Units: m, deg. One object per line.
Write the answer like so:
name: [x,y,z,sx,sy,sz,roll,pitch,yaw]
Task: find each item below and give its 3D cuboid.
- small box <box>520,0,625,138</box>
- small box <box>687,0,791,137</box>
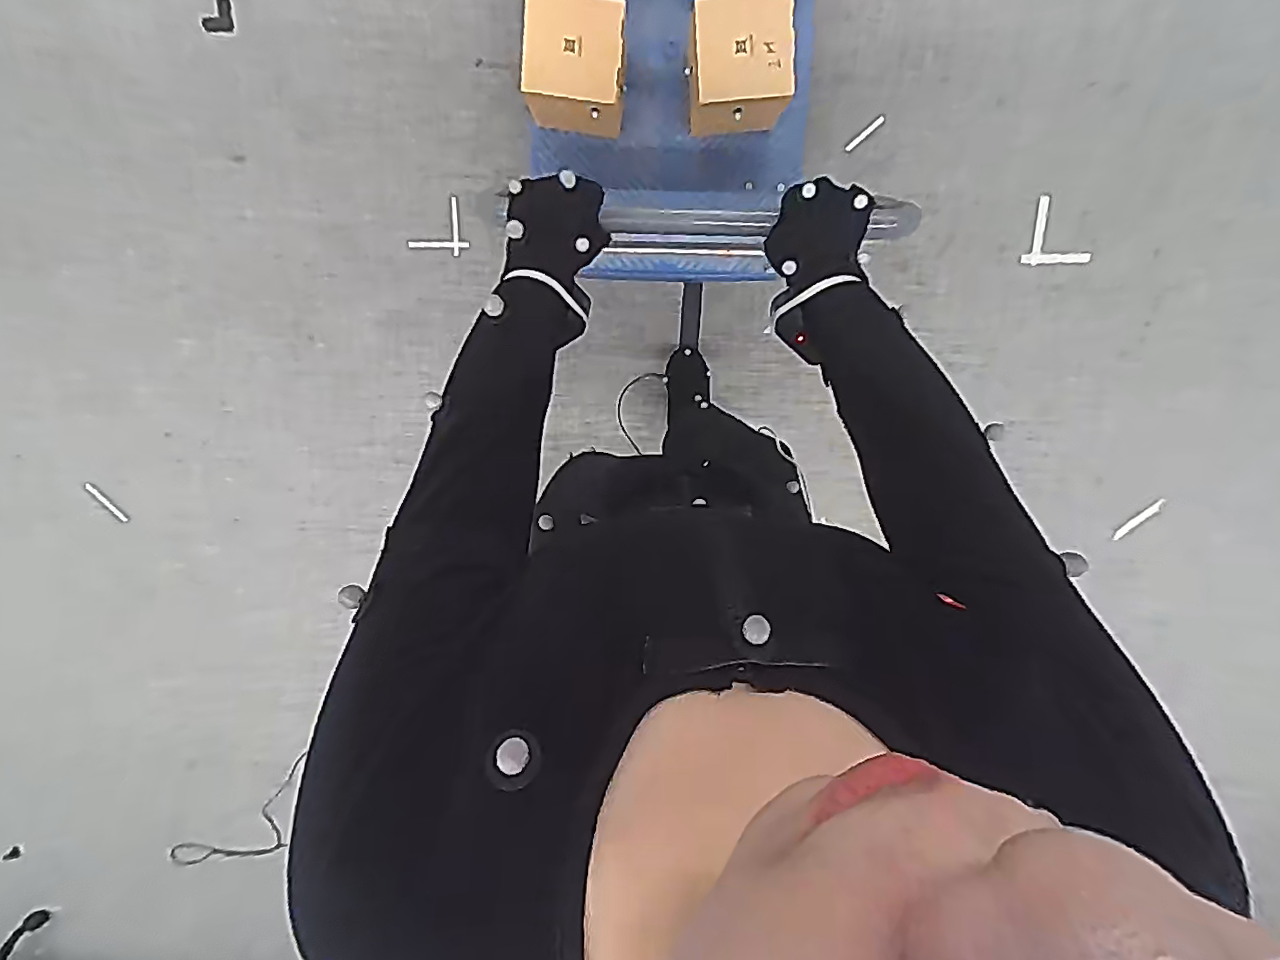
small box: [-0.124,-0.785,1.042,0.179,0.176,0.168,6,104,-3]
small box: [0.184,-0.785,1.043,0.179,0.176,0.168,-4,105,1]
